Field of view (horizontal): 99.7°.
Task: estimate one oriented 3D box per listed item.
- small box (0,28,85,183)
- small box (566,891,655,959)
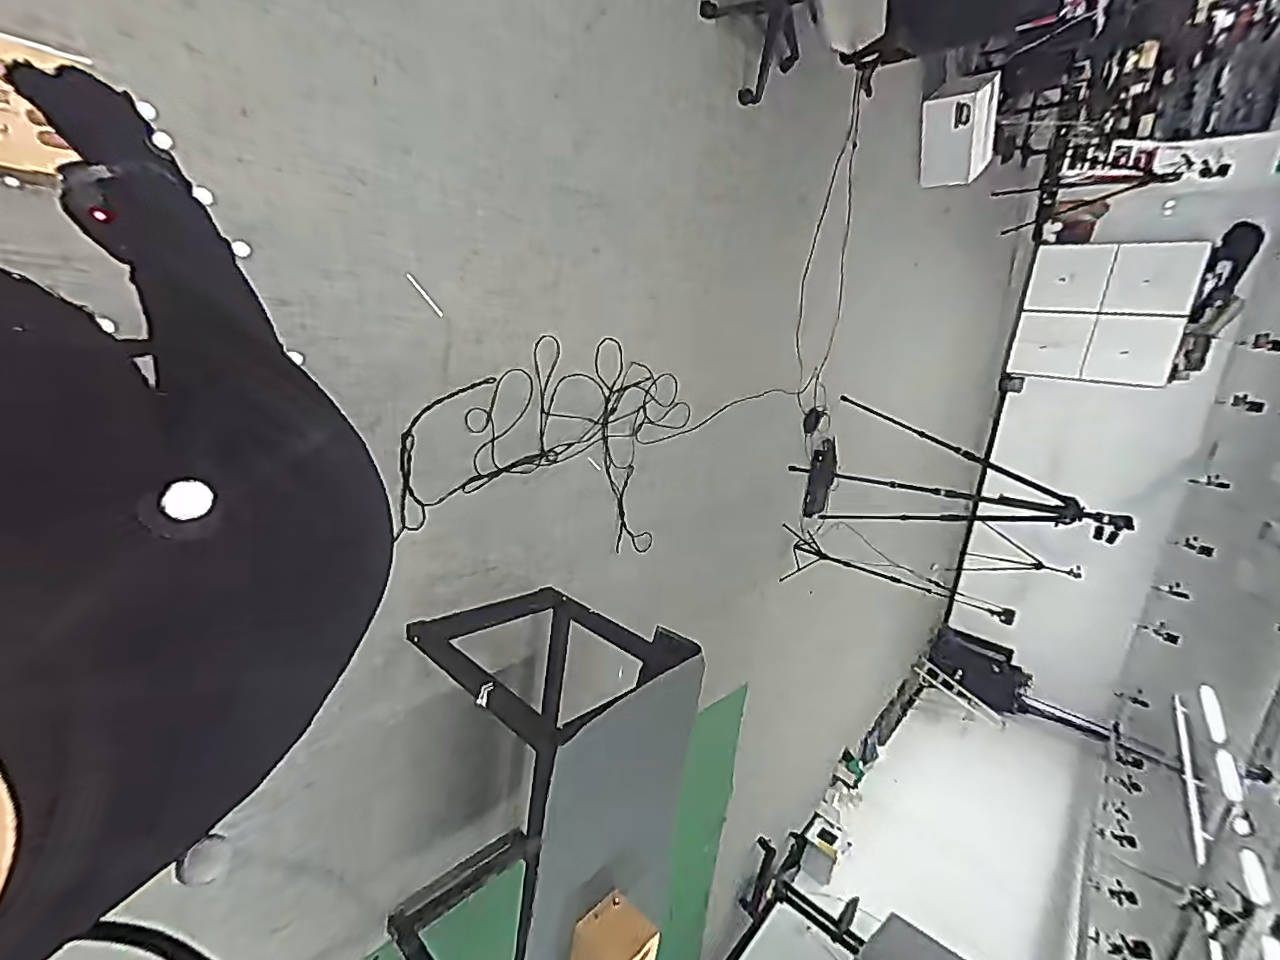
[{"bbox_3d":[-1.002,-0.589,0.845,0.168,0.176,0.179,-9,111,-47],"label":"small box"},{"bbox_3d":[-0.084,1.279,1.478,0.168,0.176,0.179,-3,107,-49],"label":"small box"}]
